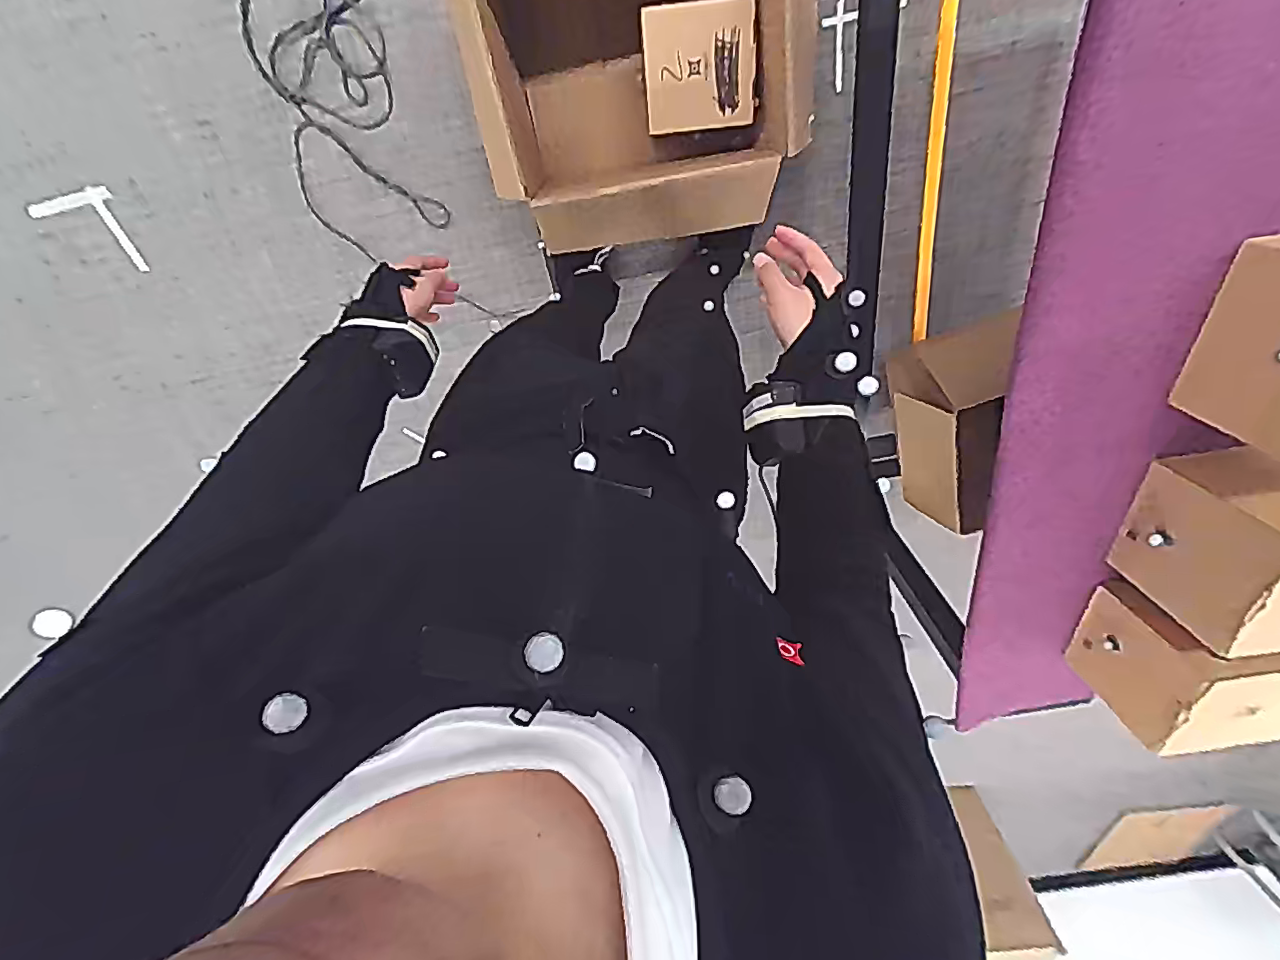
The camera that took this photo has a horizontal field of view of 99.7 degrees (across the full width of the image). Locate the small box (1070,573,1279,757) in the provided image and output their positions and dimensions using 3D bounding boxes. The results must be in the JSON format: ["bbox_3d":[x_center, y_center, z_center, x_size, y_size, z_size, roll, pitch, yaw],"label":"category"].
[{"bbox_3d":[0.754,0.245,0.737,0.179,0.176,0.168,-8,124,0],"label":"small box"}]

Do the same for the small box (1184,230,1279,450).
[{"bbox_3d":[0.666,-0.124,0.486,0.168,0.176,0.179,-8,123,1],"label":"small box"}]
